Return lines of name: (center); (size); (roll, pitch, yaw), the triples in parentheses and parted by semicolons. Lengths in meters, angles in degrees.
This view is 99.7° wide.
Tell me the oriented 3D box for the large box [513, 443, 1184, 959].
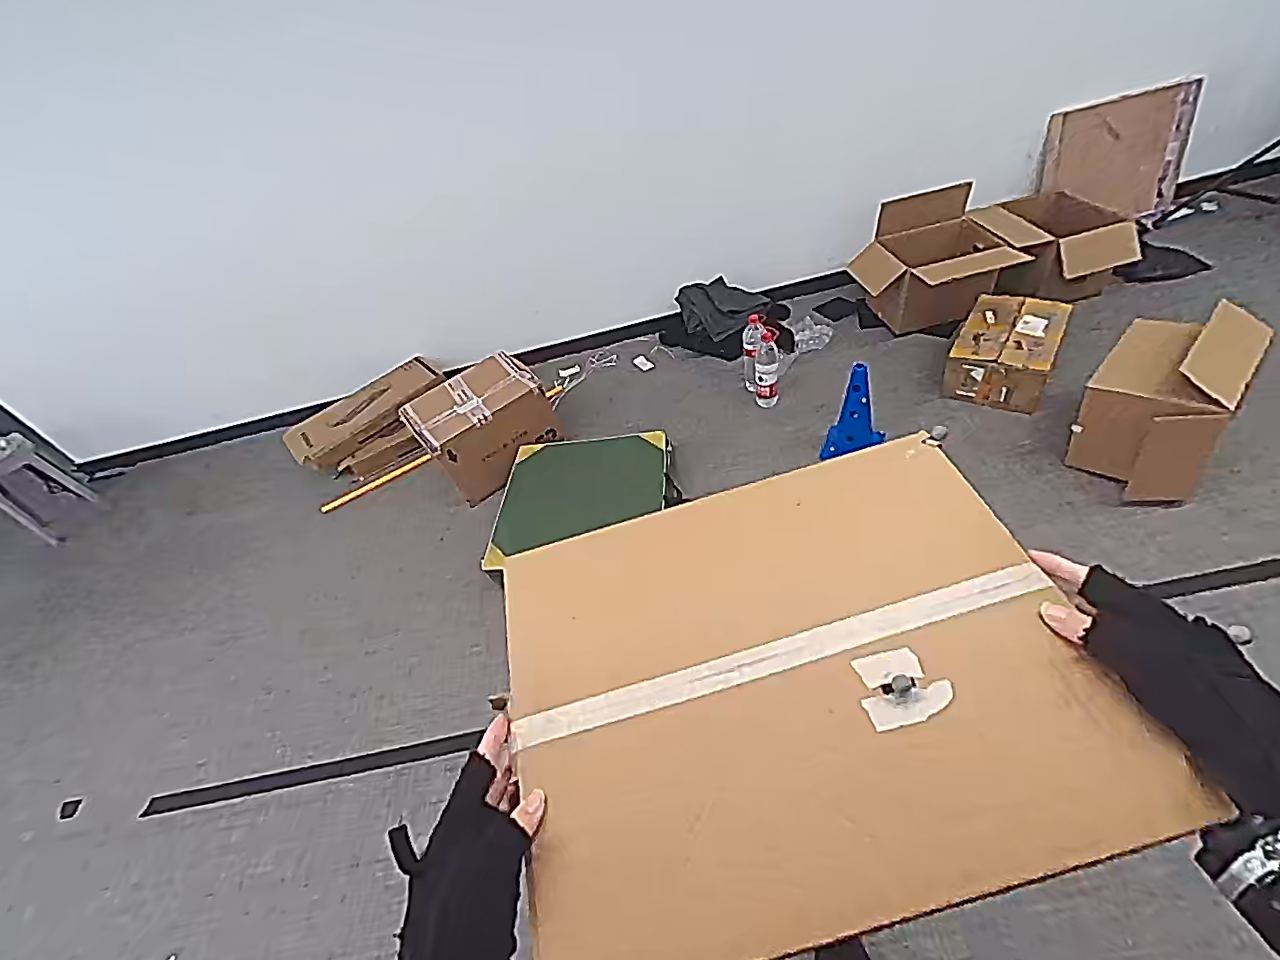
large box: (0.129, 0.225, 0.527); (0.408, 0.320, 0.320); (-17, 51, -1)
